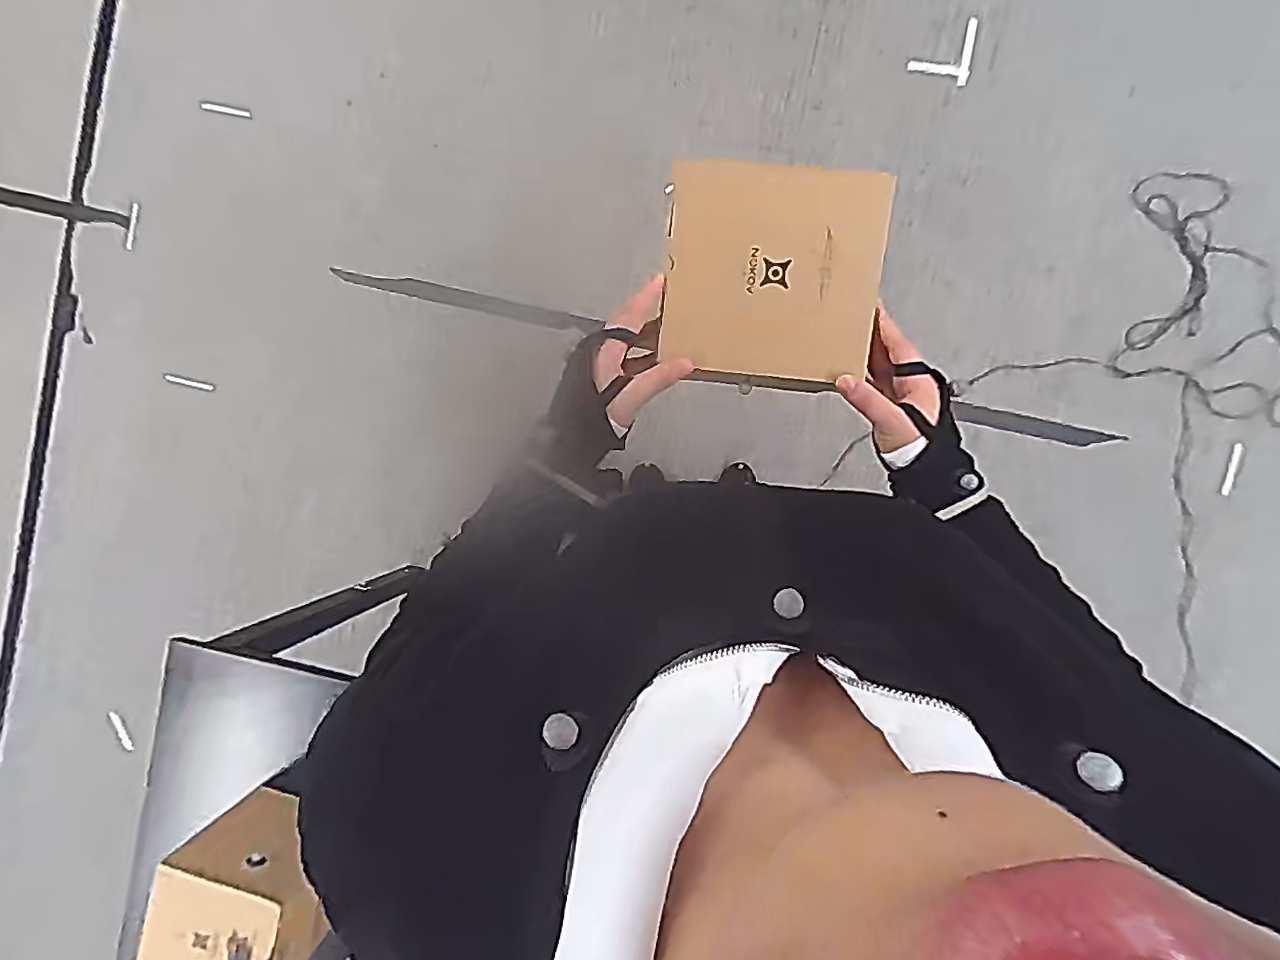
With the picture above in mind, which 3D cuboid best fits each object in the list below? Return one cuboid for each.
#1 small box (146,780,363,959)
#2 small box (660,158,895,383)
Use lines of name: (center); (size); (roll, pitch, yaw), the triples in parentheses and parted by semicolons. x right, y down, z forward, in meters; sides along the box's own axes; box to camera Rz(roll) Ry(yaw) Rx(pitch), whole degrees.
small box: (-0.529, 0.564, 0.766); (0.179, 0.176, 0.168); (14, 93, 4)
small box: (0.117, -0.186, 0.527); (0.179, 0.176, 0.168); (6, 98, 4)
